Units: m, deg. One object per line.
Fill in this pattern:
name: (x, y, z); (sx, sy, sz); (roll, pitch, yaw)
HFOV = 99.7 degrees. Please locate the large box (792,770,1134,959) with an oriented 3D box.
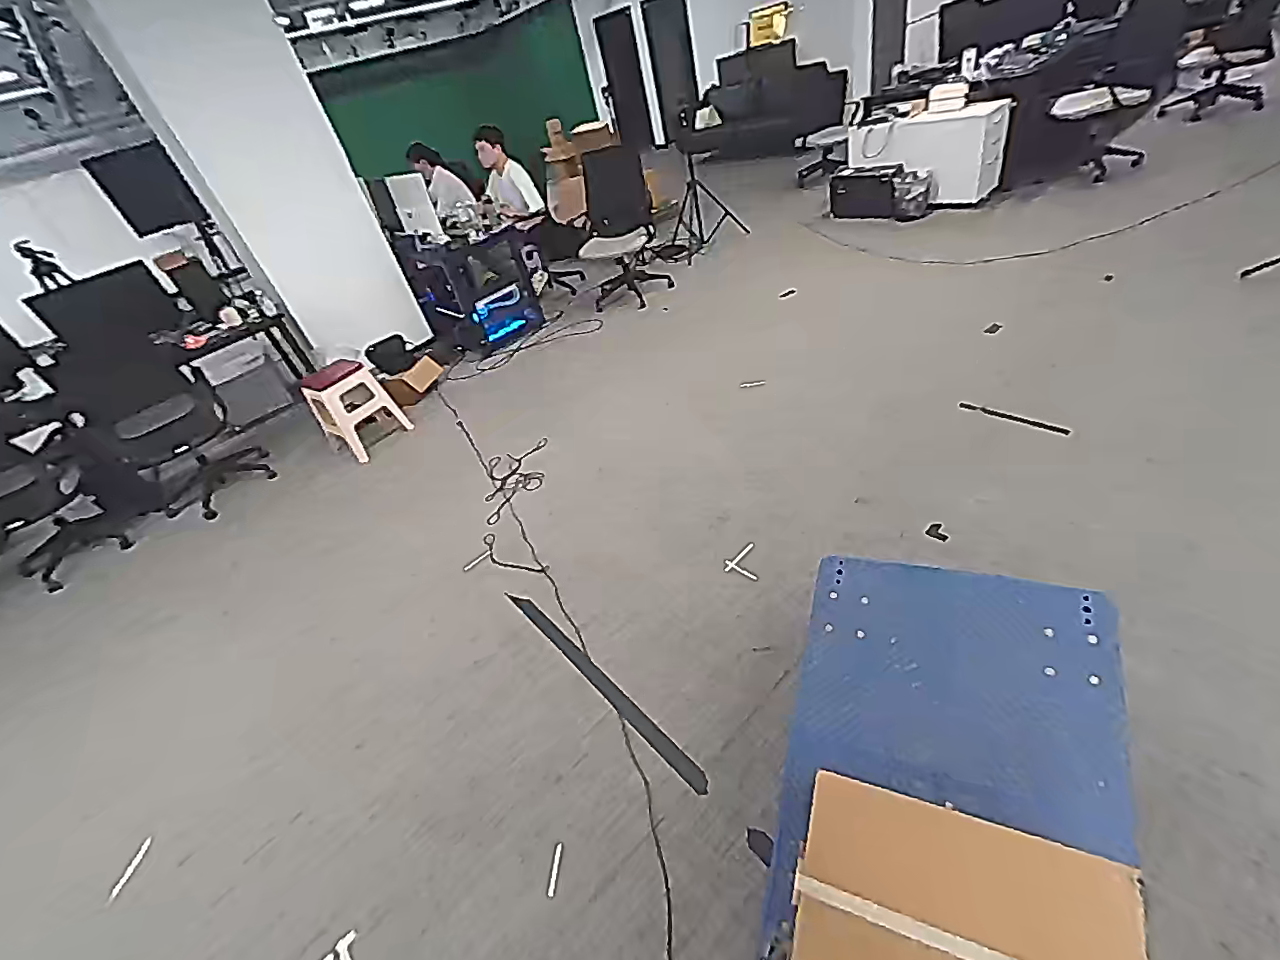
large box: (0.476, 0.697, 0.861); (0.408, 0.320, 0.320); (6, 63, 26)
